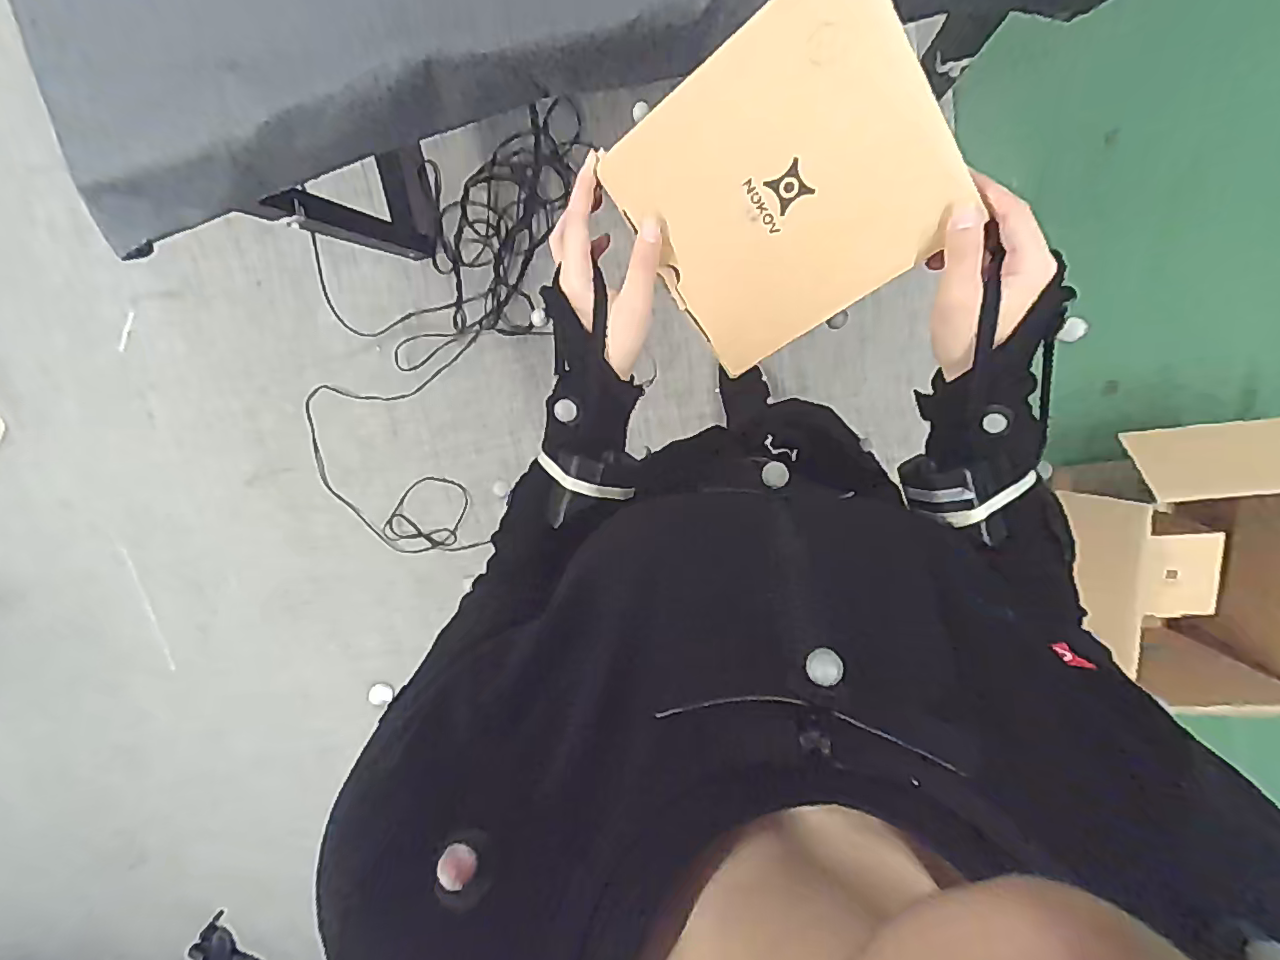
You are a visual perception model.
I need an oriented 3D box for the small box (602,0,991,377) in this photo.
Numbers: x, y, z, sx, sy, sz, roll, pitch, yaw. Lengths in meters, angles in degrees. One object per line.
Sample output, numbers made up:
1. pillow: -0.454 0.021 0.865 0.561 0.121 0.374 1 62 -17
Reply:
1. small box: 0.103 -0.208 0.390 0.179 0.176 0.168 -30 107 26
